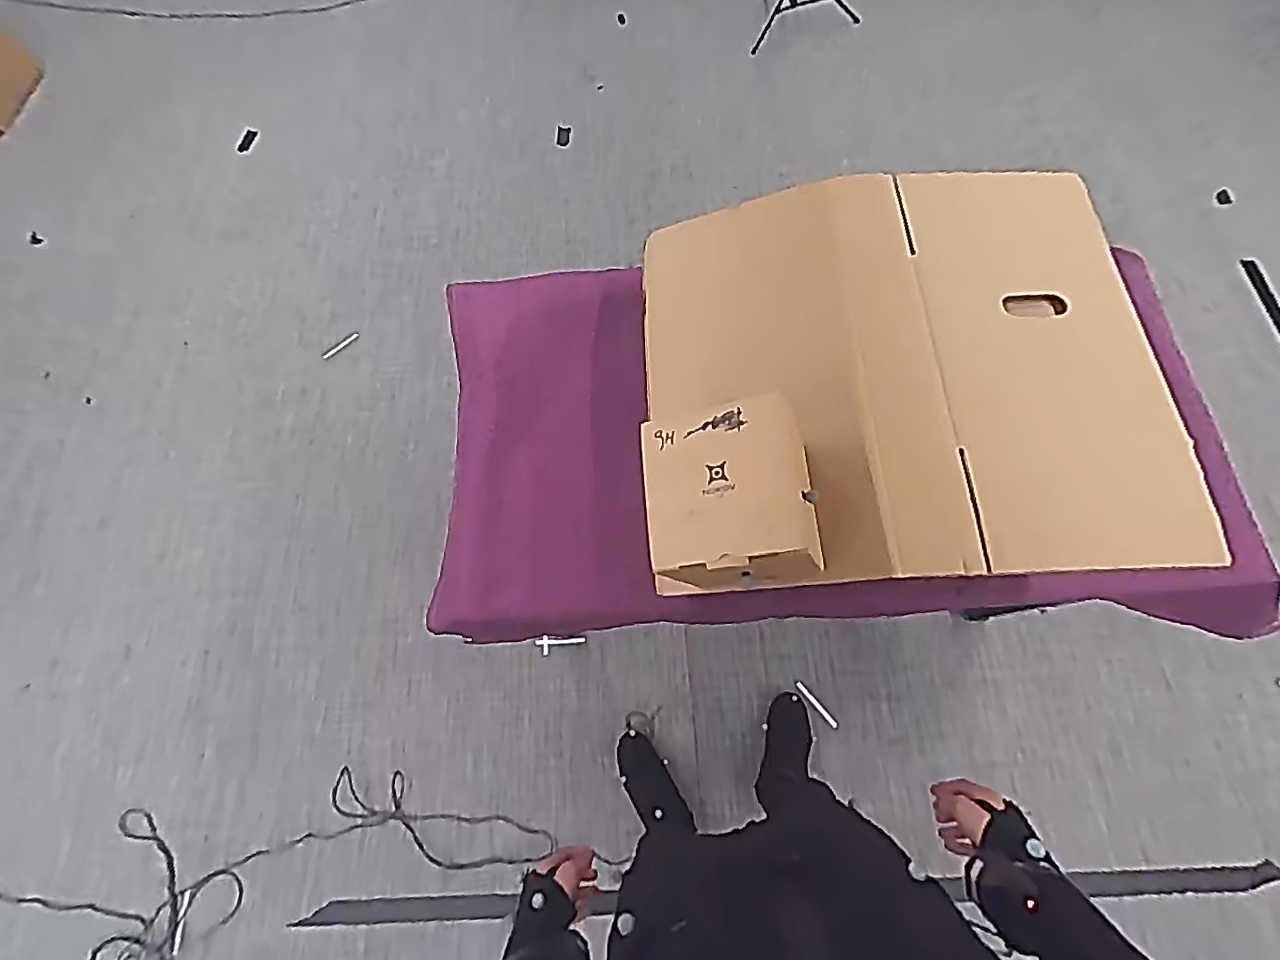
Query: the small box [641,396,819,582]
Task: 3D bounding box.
[{"bbox_3d":[0.112,0.025,0.648,0.168,0.176,0.179,-11,70,20],"label":"small box"}]
